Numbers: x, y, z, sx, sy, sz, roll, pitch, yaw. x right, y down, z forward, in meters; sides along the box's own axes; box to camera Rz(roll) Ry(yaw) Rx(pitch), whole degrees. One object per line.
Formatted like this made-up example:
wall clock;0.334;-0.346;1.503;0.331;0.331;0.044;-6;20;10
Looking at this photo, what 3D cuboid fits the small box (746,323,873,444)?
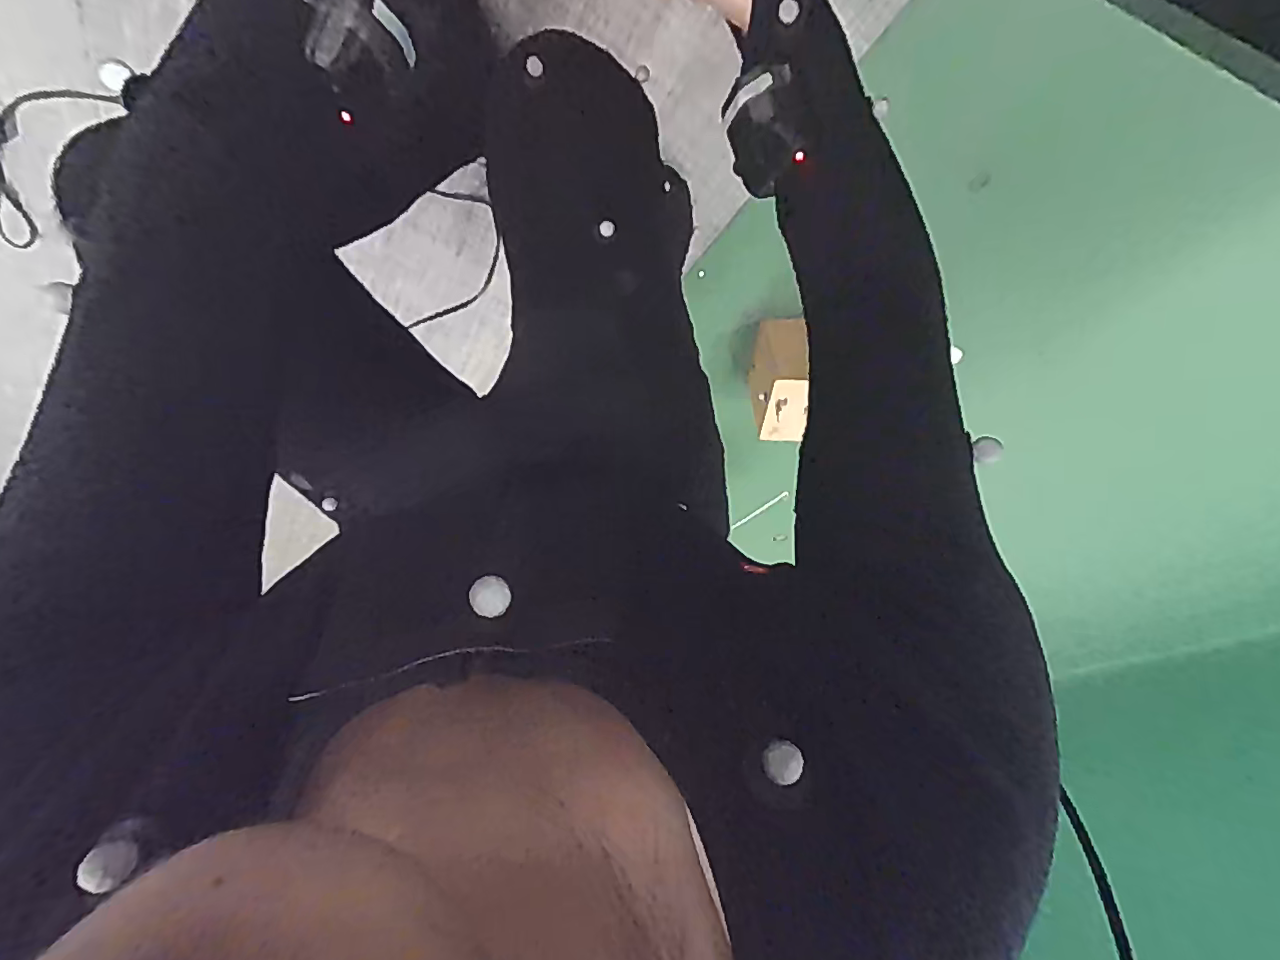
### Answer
small box;0.314;-0.186;1.039;0.179;0.176;0.168;-1;145;-1
